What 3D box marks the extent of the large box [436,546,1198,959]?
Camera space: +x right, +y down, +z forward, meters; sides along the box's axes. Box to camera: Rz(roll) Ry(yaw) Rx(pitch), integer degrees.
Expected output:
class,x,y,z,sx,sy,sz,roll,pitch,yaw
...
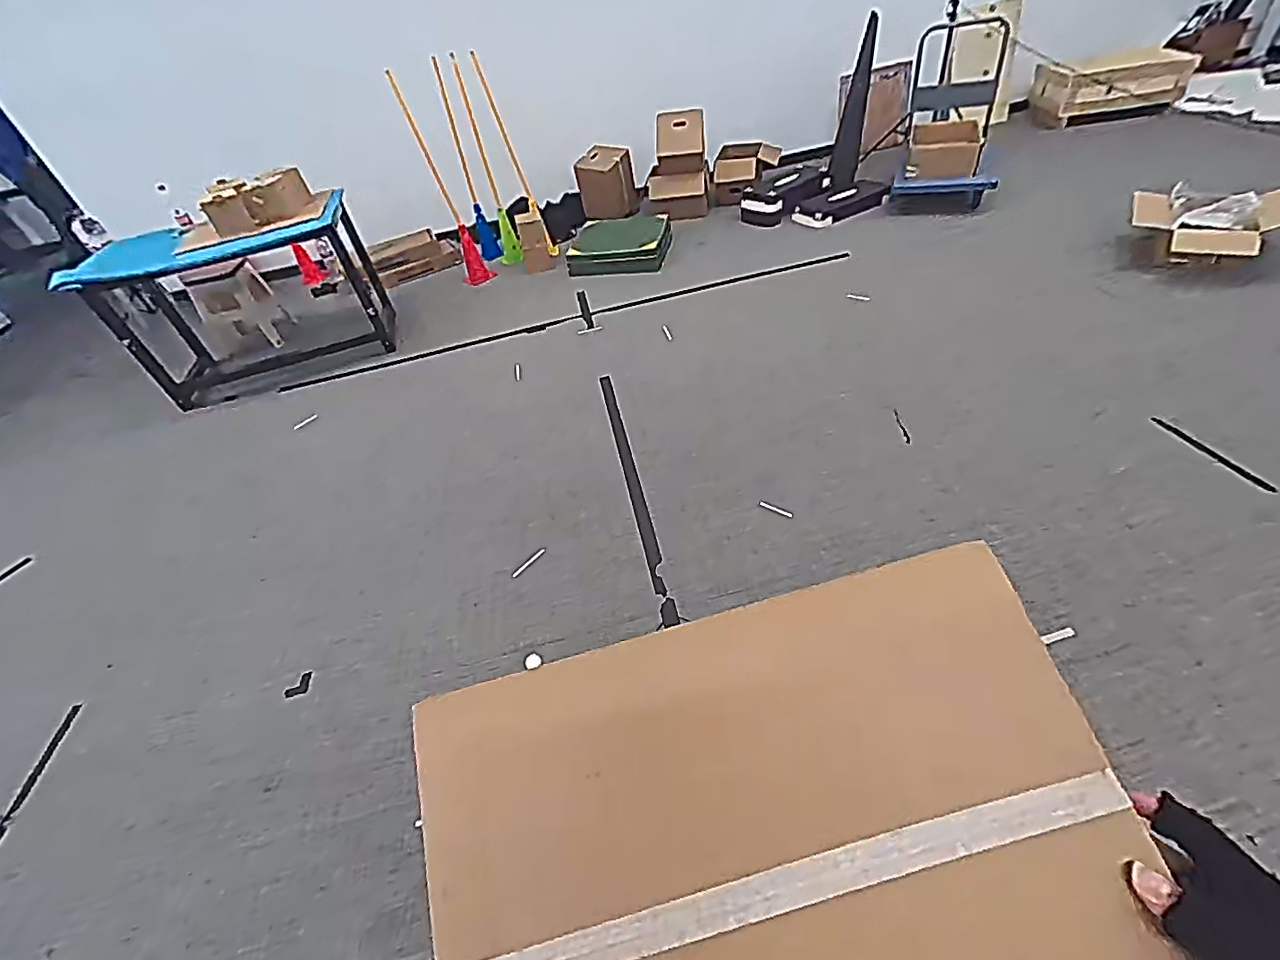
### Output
class,x,y,z,sx,sy,sz,roll,pitch,yaw
large box,0.100,0.293,0.457,0.408,0.320,0.320,-16,68,-1
